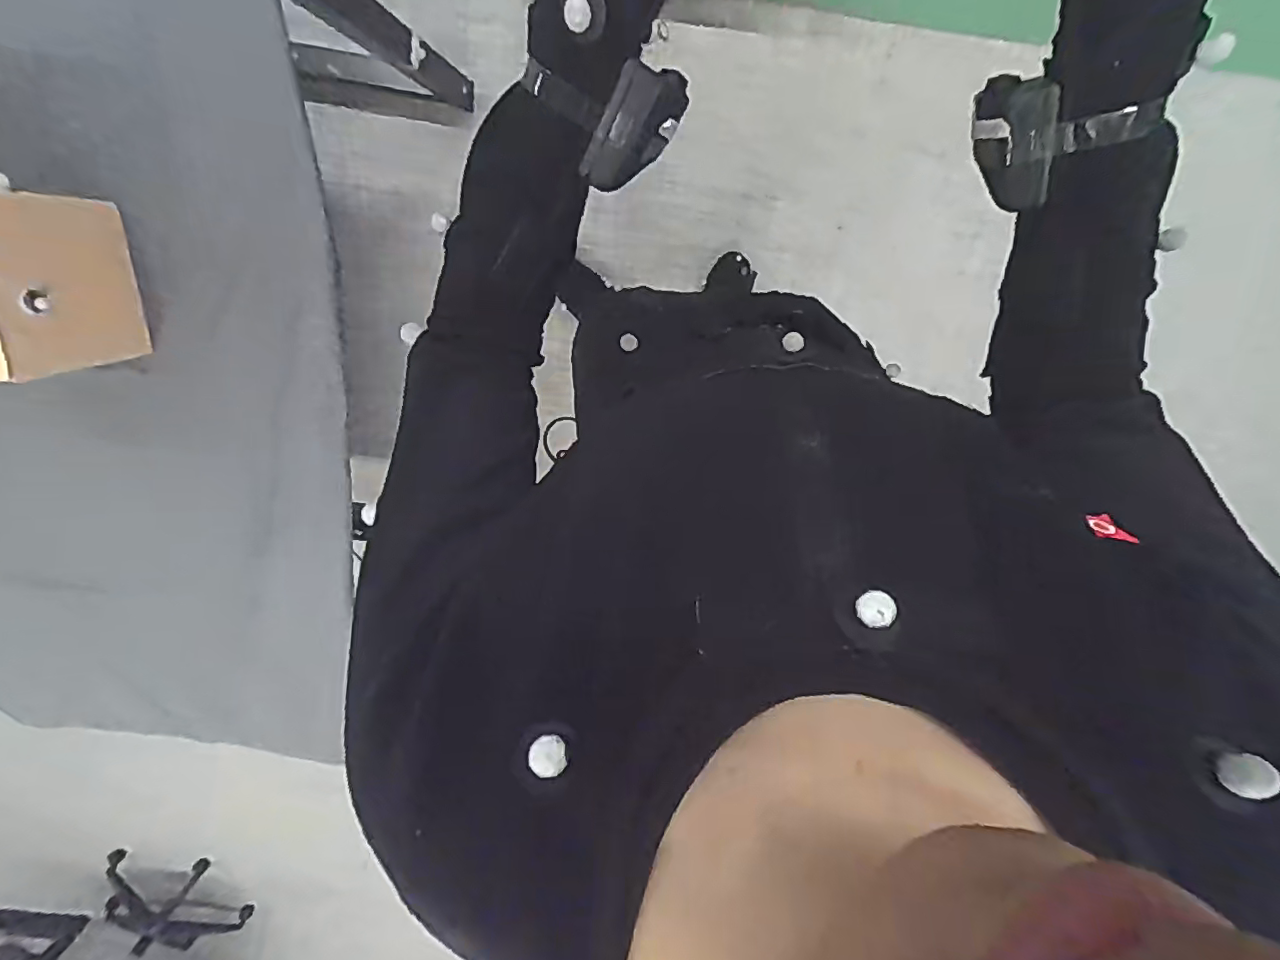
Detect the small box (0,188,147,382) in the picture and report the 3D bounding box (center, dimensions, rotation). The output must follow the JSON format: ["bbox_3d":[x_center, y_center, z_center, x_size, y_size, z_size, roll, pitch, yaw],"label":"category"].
[{"bbox_3d":[-0.702,-0.221,0.593,0.168,0.176,0.179,7,113,-1],"label":"small box"}]
